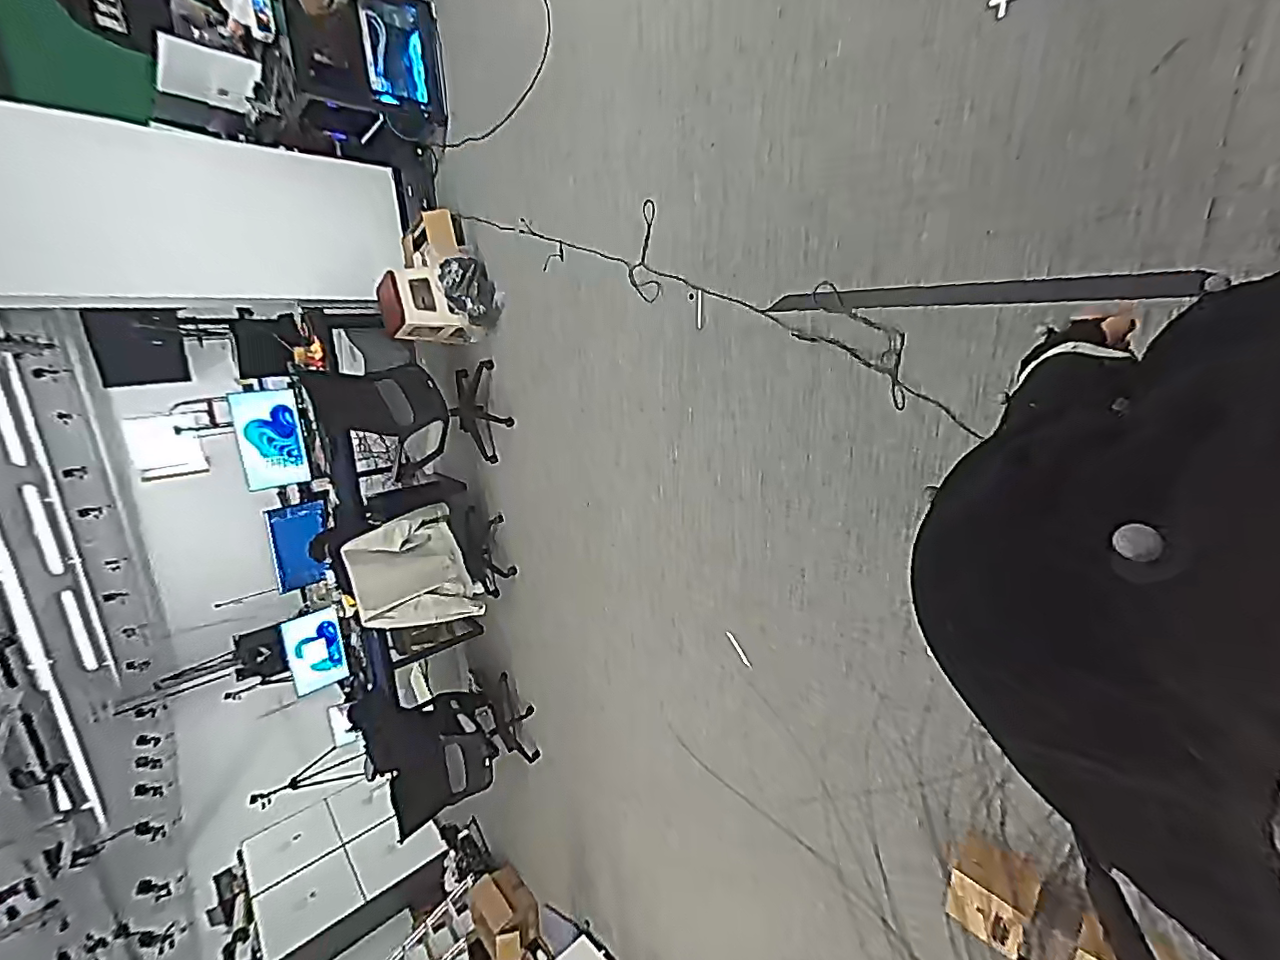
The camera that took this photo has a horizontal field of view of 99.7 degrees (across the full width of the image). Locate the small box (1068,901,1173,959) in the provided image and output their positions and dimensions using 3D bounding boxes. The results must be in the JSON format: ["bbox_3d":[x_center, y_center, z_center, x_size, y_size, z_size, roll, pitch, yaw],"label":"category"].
[{"bbox_3d":[1.150,1.190,1.306,0.168,0.176,0.179,18,115,44],"label":"small box"}]
